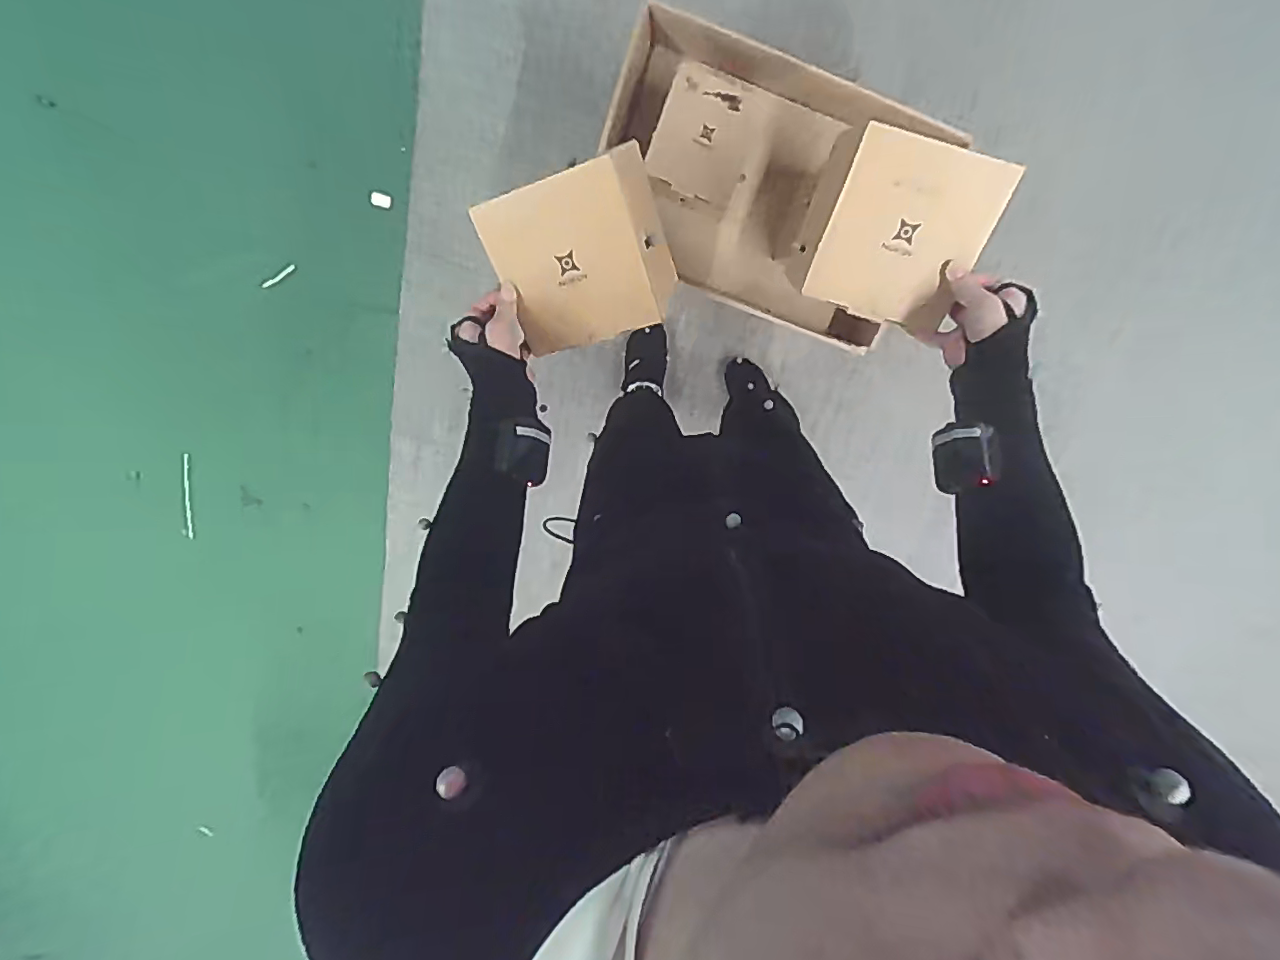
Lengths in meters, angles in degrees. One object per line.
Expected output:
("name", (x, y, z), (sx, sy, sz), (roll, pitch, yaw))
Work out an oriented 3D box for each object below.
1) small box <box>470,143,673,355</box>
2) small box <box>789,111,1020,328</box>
("small box", (-0.067, -0.281, 0.649), (0.168, 0.176, 0.179), (-13, 124, 19))
("small box", (0.286, -0.303, 0.637), (0.168, 0.176, 0.179), (16, 120, 0))
